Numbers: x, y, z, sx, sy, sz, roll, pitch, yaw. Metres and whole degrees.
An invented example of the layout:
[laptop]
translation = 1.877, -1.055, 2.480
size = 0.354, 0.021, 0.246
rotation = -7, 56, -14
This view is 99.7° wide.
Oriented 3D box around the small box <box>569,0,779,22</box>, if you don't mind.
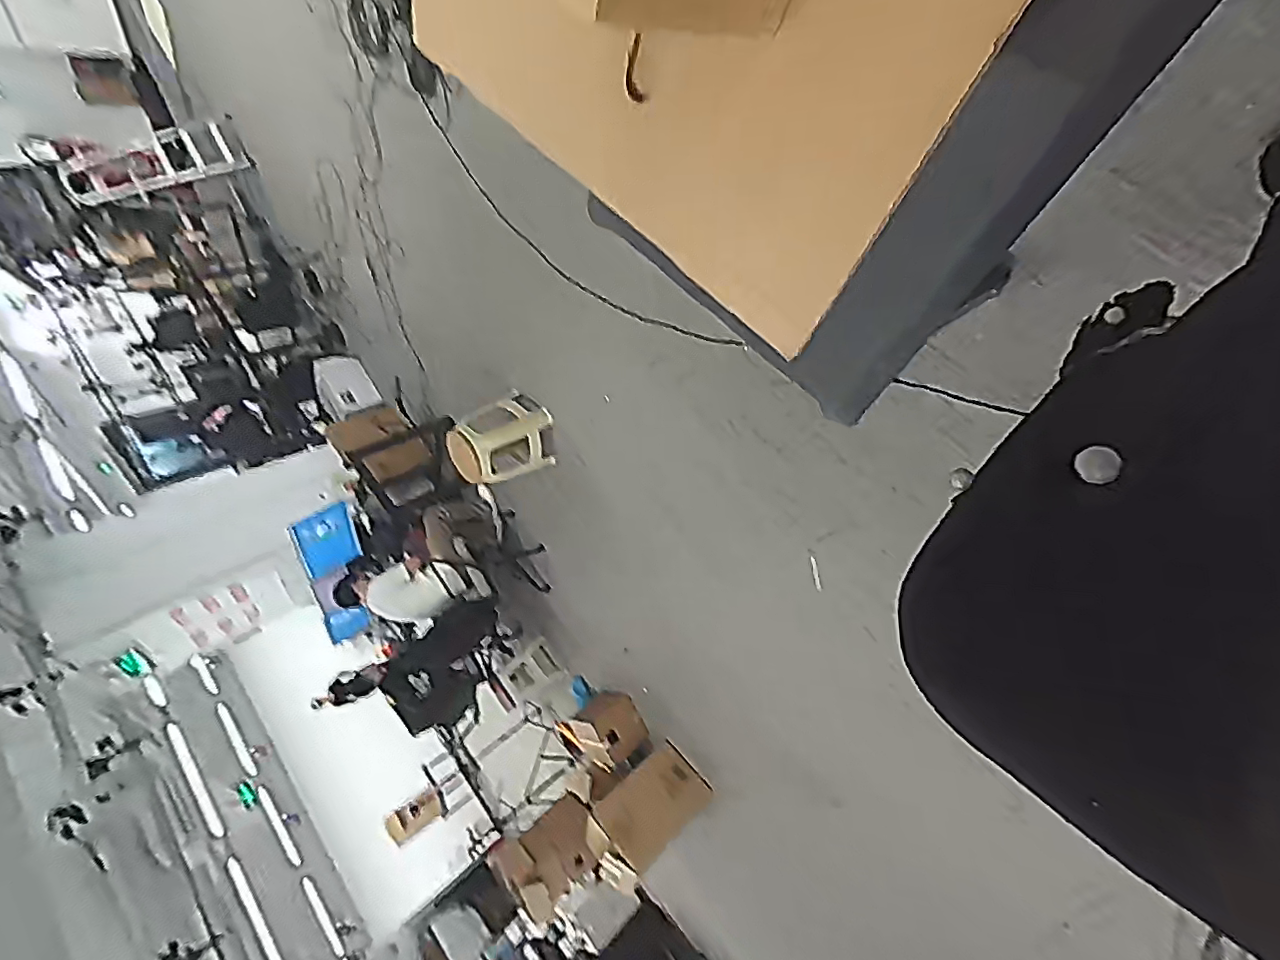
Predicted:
[small box]
translation = -0.001, -0.387, 0.298
size = 0.179, 0.176, 0.168
rotation = 47, 143, 18
